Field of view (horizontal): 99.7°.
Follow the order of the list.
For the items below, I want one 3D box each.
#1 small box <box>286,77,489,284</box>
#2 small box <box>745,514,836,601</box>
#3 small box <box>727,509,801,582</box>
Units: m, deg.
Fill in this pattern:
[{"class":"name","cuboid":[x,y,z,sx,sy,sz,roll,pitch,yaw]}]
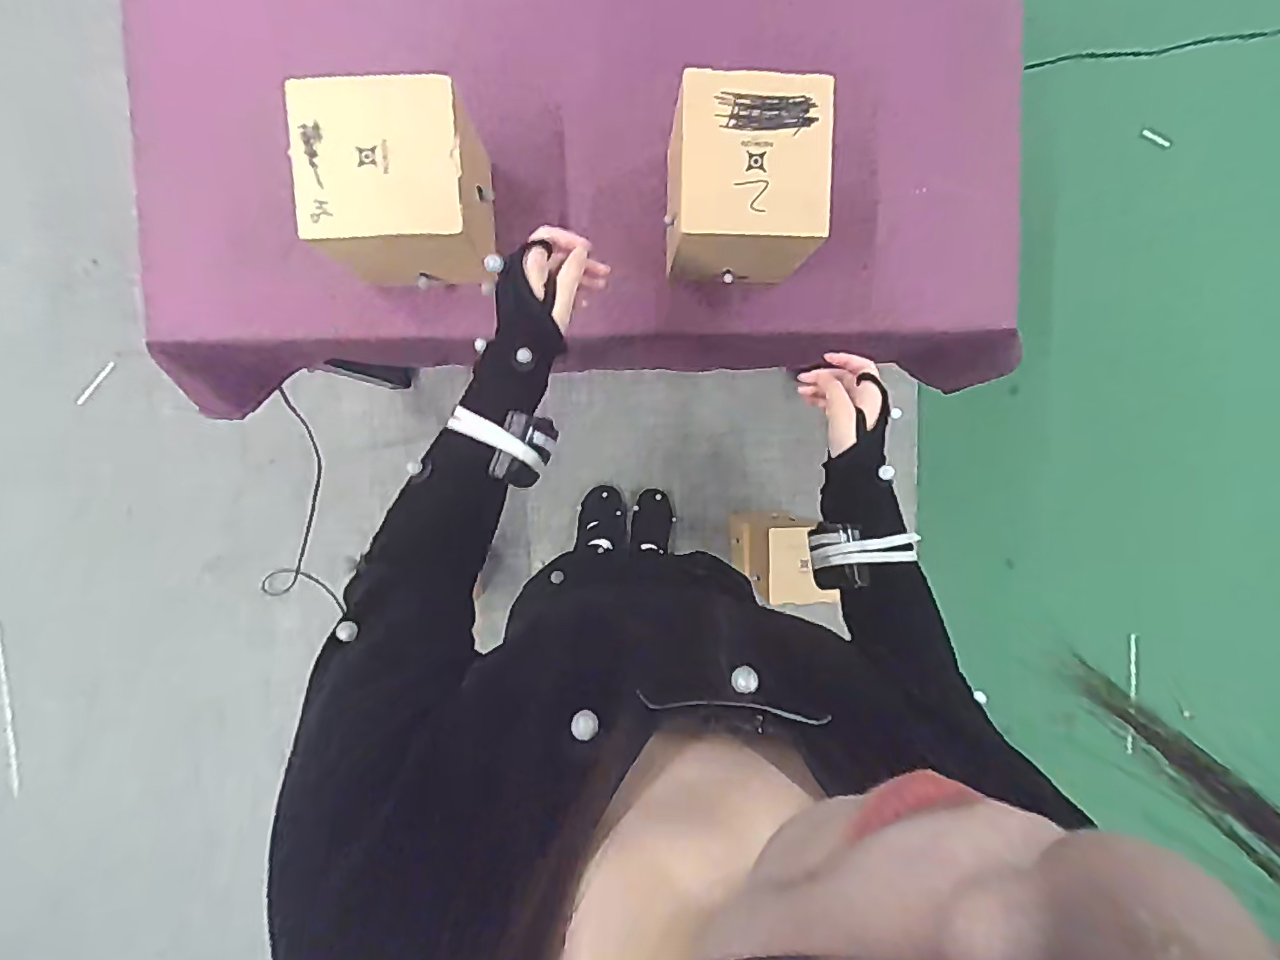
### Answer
[{"class":"small box","cuboid":[-0.285,-0.344,0.651,0.179,0.176,0.168,-3,93,-4]},{"class":"small box","cuboid":[0.352,0.179,1.285,0.168,0.176,0.179,-1,93,-5]},{"class":"small box","cuboid":[0.333,0.171,1.447,0.179,0.176,0.168,-3,94,-3]}]
